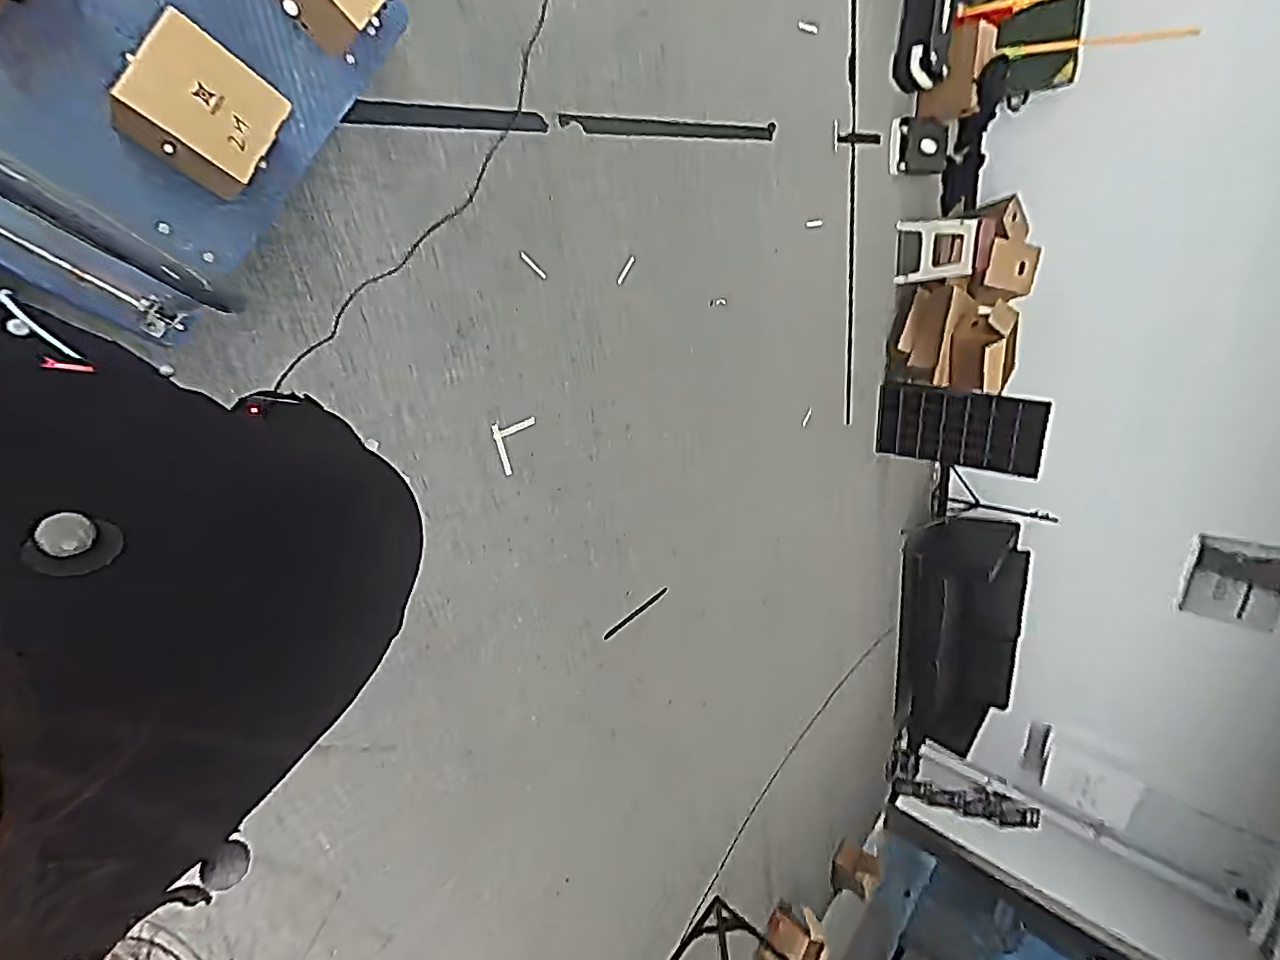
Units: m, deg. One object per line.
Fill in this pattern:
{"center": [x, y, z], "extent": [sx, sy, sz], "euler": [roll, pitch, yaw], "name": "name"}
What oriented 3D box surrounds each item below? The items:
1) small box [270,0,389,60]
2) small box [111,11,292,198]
{"center": [-0.562, -0.919, 0.978], "extent": [0.168, 0.176, 0.179], "euler": [39, 74, -44], "name": "small box"}
{"center": [-0.727, -0.601, 0.896], "extent": [0.179, 0.176, 0.168], "euler": [32, 78, -46], "name": "small box"}
